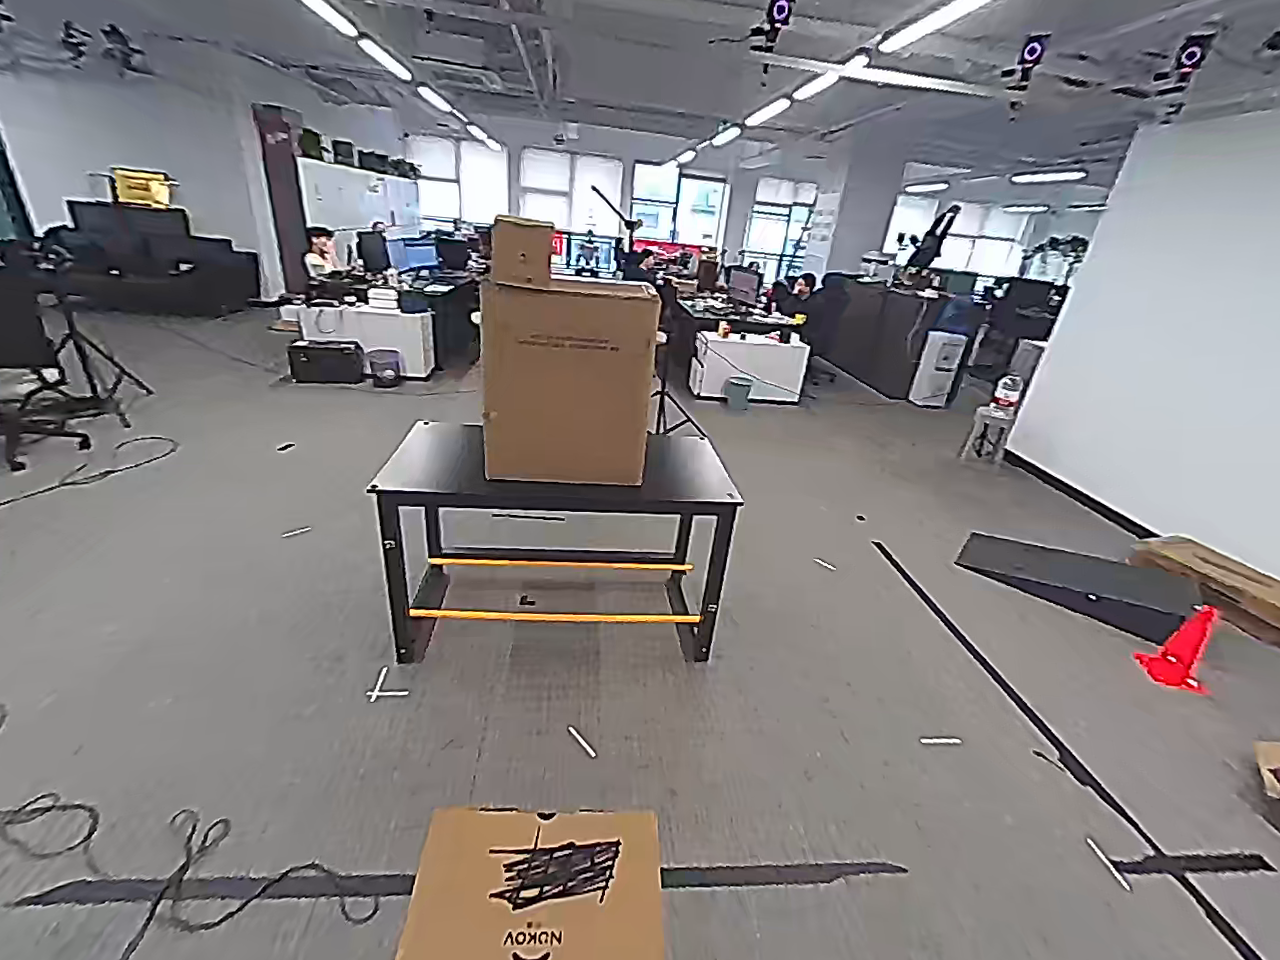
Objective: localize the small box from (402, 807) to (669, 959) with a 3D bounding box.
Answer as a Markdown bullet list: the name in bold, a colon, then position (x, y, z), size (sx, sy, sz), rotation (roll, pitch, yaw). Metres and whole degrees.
- **small box**: position (-0.071, 0.360, 0.374), size (0.168, 0.176, 0.179), rotation (2, 33, -5)

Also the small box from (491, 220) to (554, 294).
- **small box**: position (-0.336, -0.640, 1.553), size (0.168, 0.176, 0.179), rotation (3, 28, -12)
